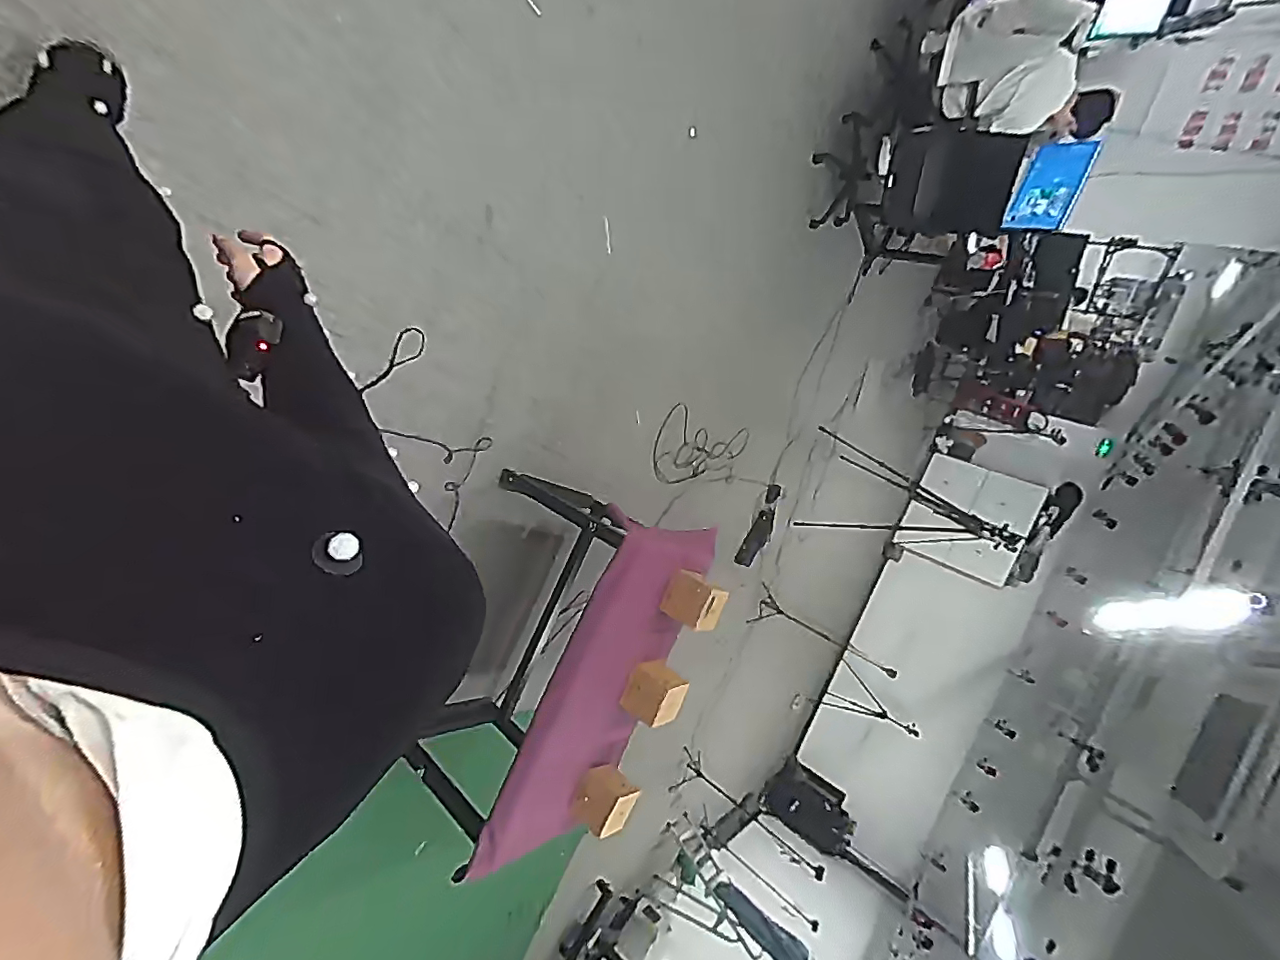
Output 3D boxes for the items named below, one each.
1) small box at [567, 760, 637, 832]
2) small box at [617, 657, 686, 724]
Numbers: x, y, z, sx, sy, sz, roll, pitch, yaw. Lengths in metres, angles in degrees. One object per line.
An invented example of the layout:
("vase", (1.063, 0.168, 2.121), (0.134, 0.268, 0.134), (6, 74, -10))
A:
("small box", (-0.147, 1.217, 2.099), (0.179, 0.176, 0.168), (35, 81, -56))
("small box", (0.045, 0.807, 2.099), (0.179, 0.176, 0.168), (15, 99, -56))
